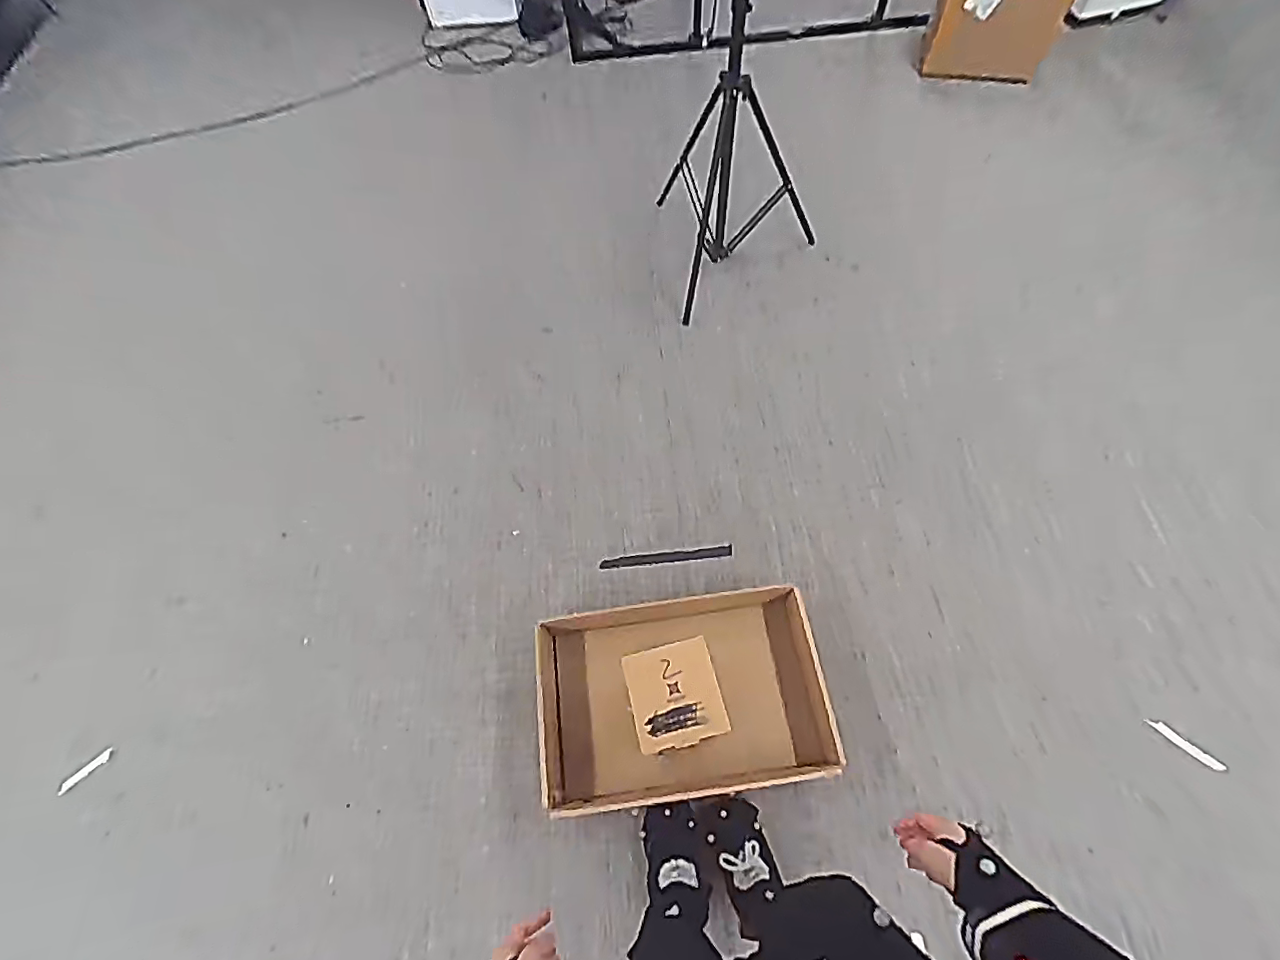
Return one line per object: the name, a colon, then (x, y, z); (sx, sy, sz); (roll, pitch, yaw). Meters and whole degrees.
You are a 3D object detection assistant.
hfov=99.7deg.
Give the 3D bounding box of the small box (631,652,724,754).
small box: (0.081, 0.502, 1.212); (0.168, 0.176, 0.179); (-13, 65, -2)
